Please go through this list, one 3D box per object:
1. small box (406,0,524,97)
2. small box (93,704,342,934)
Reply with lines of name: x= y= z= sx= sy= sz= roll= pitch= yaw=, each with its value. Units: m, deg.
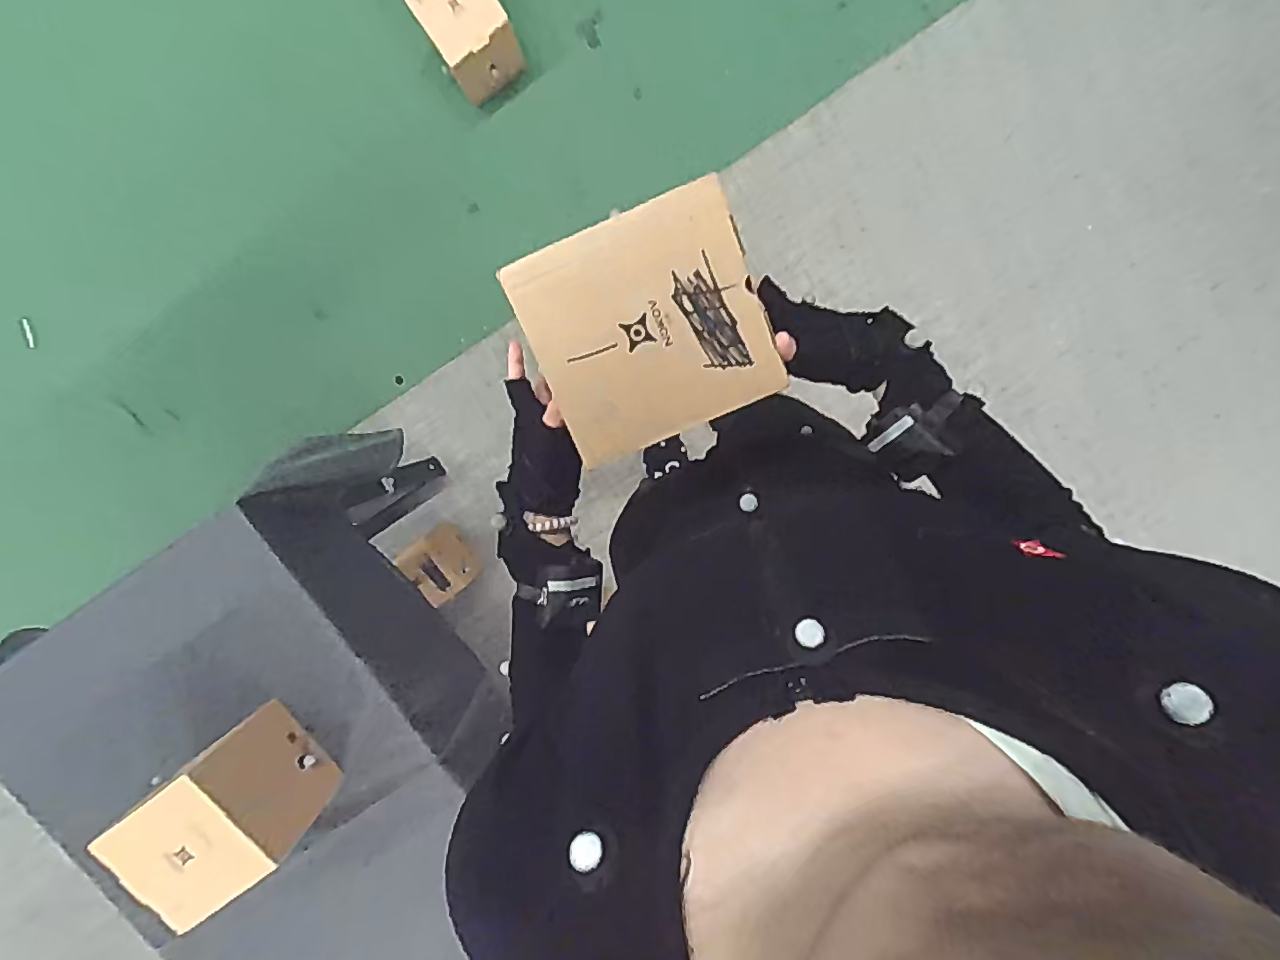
small box: x=-0.391 y=-1.027 z=1.238 sx=0.168 sy=0.176 sz=0.179 roll=-34 pitch=98 yaw=7
small box: x=-0.566 y=0.456 z=0.752 sx=0.179 sy=0.176 sz=0.168 roll=-36 pitch=98 yaw=7
